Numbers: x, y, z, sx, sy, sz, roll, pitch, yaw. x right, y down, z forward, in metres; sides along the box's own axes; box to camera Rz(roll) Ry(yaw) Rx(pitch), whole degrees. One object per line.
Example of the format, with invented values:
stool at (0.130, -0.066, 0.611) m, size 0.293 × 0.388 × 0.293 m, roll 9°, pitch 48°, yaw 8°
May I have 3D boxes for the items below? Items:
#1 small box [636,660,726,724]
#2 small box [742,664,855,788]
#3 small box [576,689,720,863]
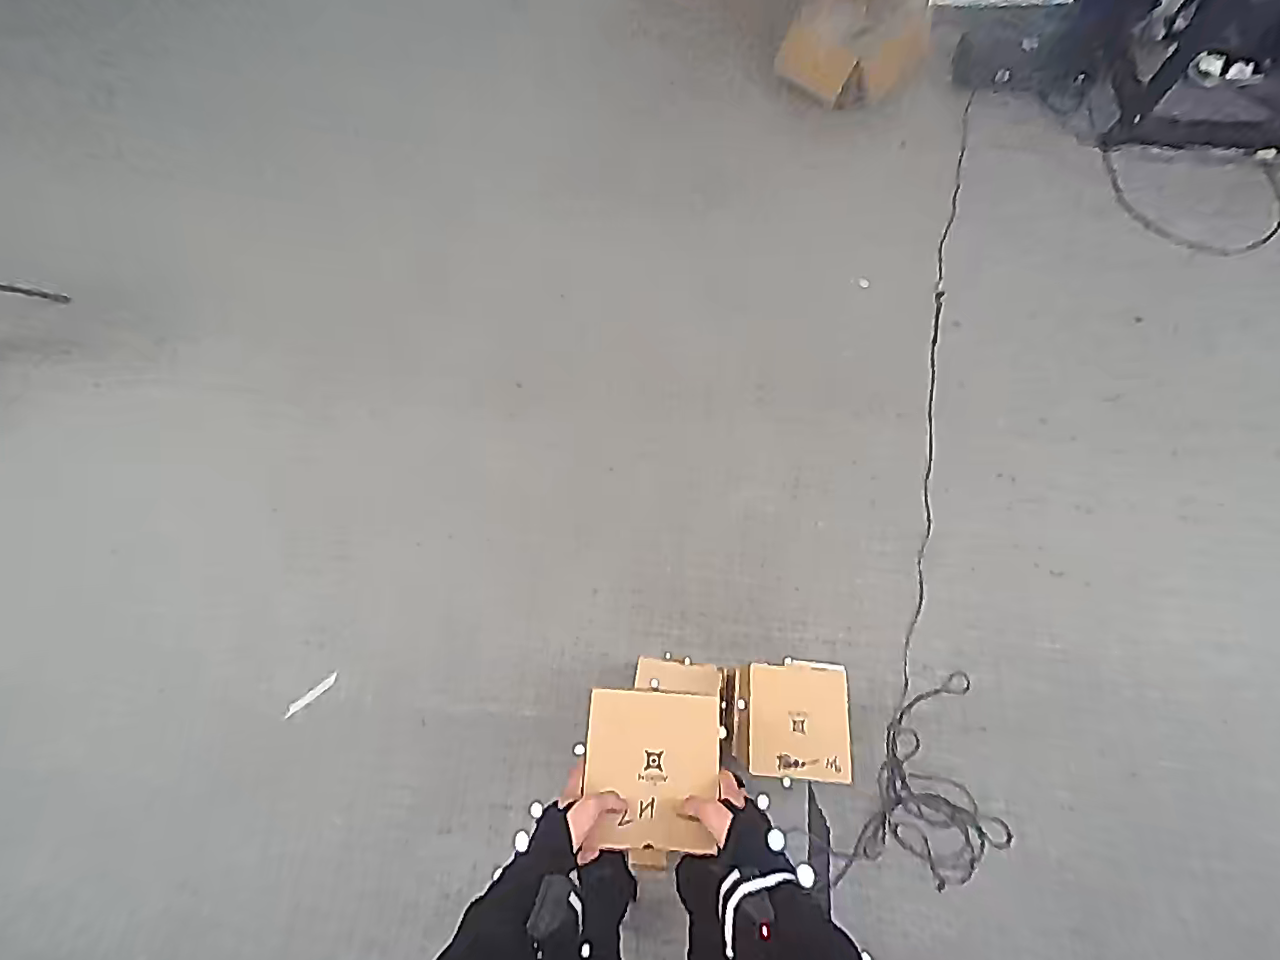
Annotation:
small box at (0.079, 0.479, 1.137) m, size 0.179 × 0.176 × 0.168 m, roll 8°, pitch 70°, yaw 8°
small box at (0.272, 0.431, 0.965) m, size 0.168 × 0.176 × 0.179 m, roll 3°, pitch 69°, yaw 6°
small box at (0.009, 0.378, 0.721) m, size 0.168 × 0.176 × 0.179 m, roll 5°, pitch 70°, yaw -2°
